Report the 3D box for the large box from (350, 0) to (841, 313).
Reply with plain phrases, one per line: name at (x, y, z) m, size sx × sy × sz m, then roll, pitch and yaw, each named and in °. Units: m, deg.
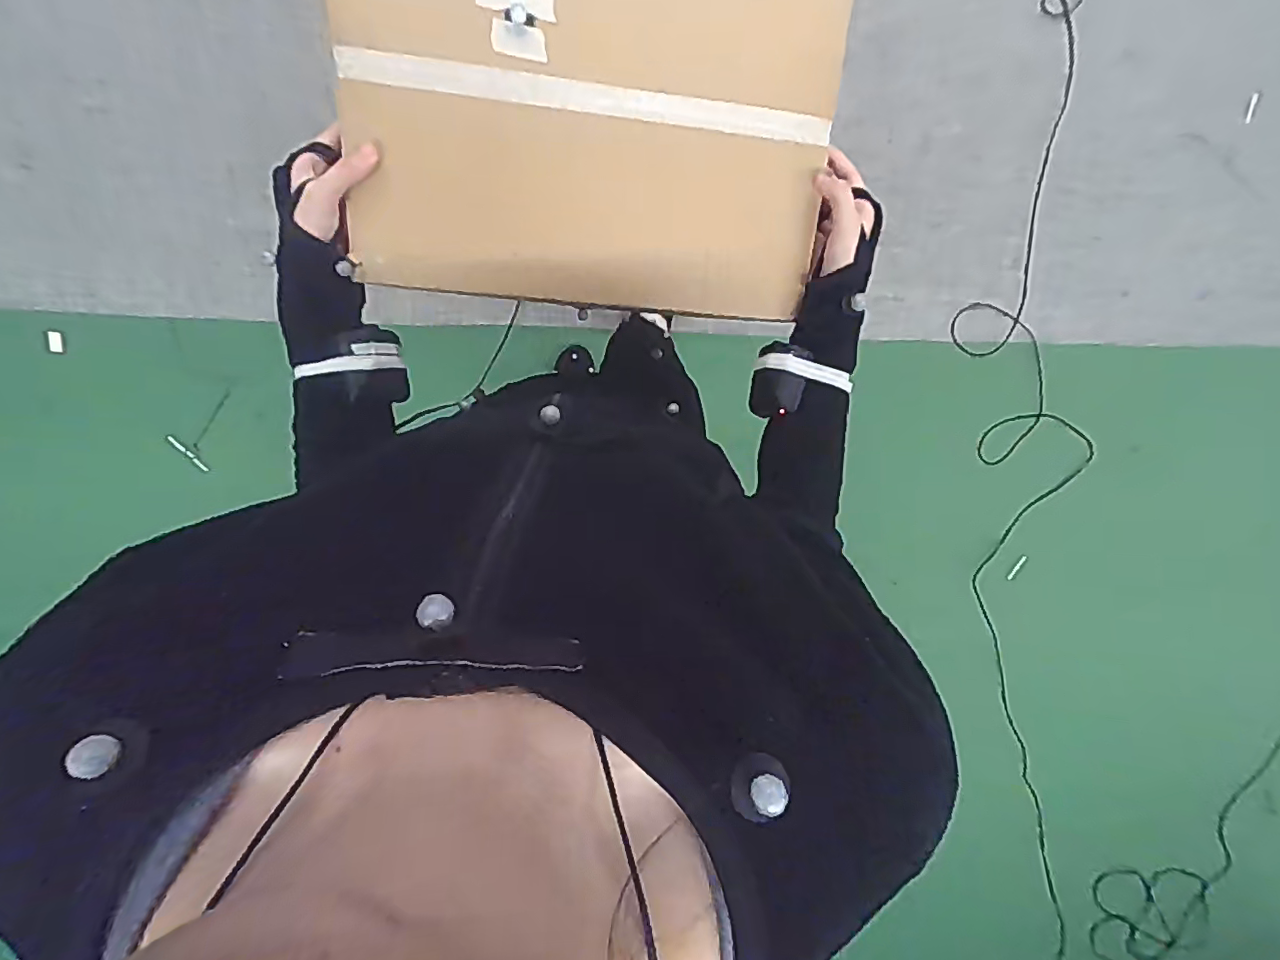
large box at (-0.050, -0.364, 0.600) m, size 0.408 × 0.320 × 0.320 m, roll 2°, pitch 107°, yaw -9°
